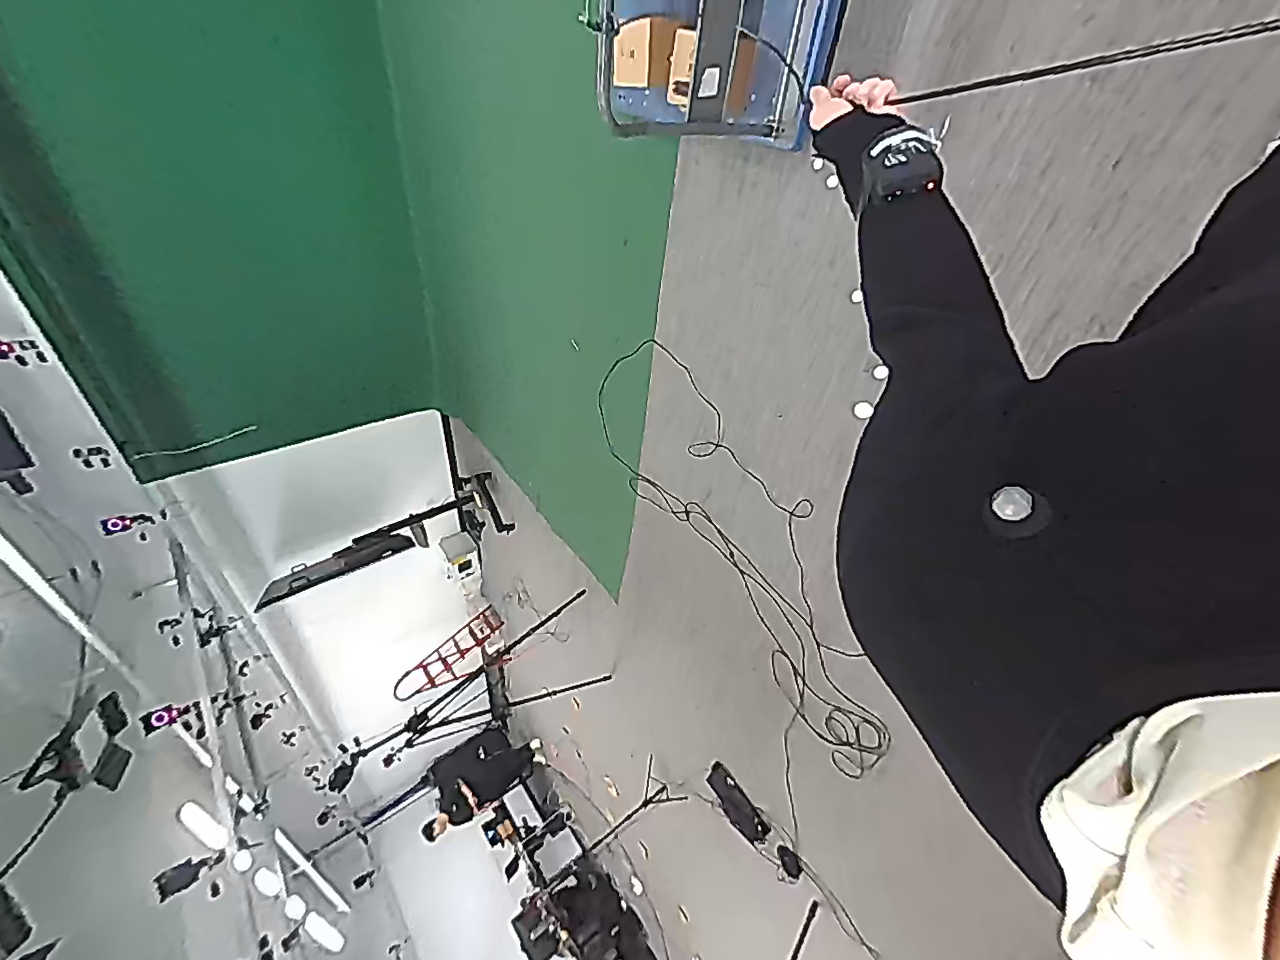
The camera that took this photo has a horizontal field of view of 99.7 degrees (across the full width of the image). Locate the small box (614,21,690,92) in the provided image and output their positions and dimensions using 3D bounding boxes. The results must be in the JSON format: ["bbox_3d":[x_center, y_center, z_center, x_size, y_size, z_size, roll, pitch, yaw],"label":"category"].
[{"bbox_3d":[0.037,-1.332,1.703,0.179,0.176,0.168,38,137,38],"label":"small box"}]
